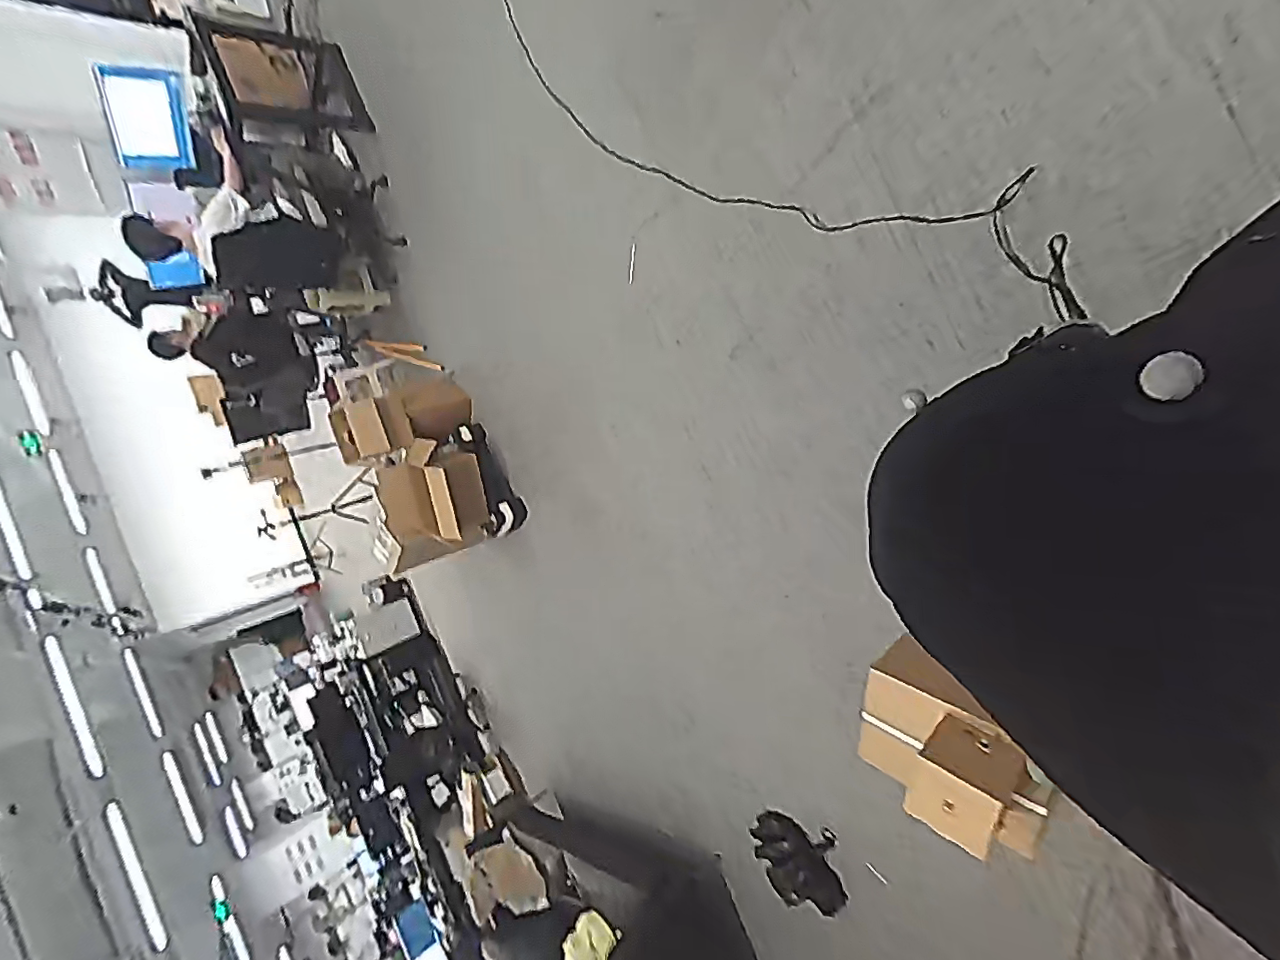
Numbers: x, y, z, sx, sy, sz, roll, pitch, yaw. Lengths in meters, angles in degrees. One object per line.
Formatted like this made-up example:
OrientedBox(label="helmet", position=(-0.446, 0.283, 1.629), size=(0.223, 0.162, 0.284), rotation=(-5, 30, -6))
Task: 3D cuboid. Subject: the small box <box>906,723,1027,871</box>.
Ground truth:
OrientedBox(label="small box", position=(0.704, 0.673, 1.167), size=(0.168, 0.176, 0.179), rotation=(21, 119, 44))
